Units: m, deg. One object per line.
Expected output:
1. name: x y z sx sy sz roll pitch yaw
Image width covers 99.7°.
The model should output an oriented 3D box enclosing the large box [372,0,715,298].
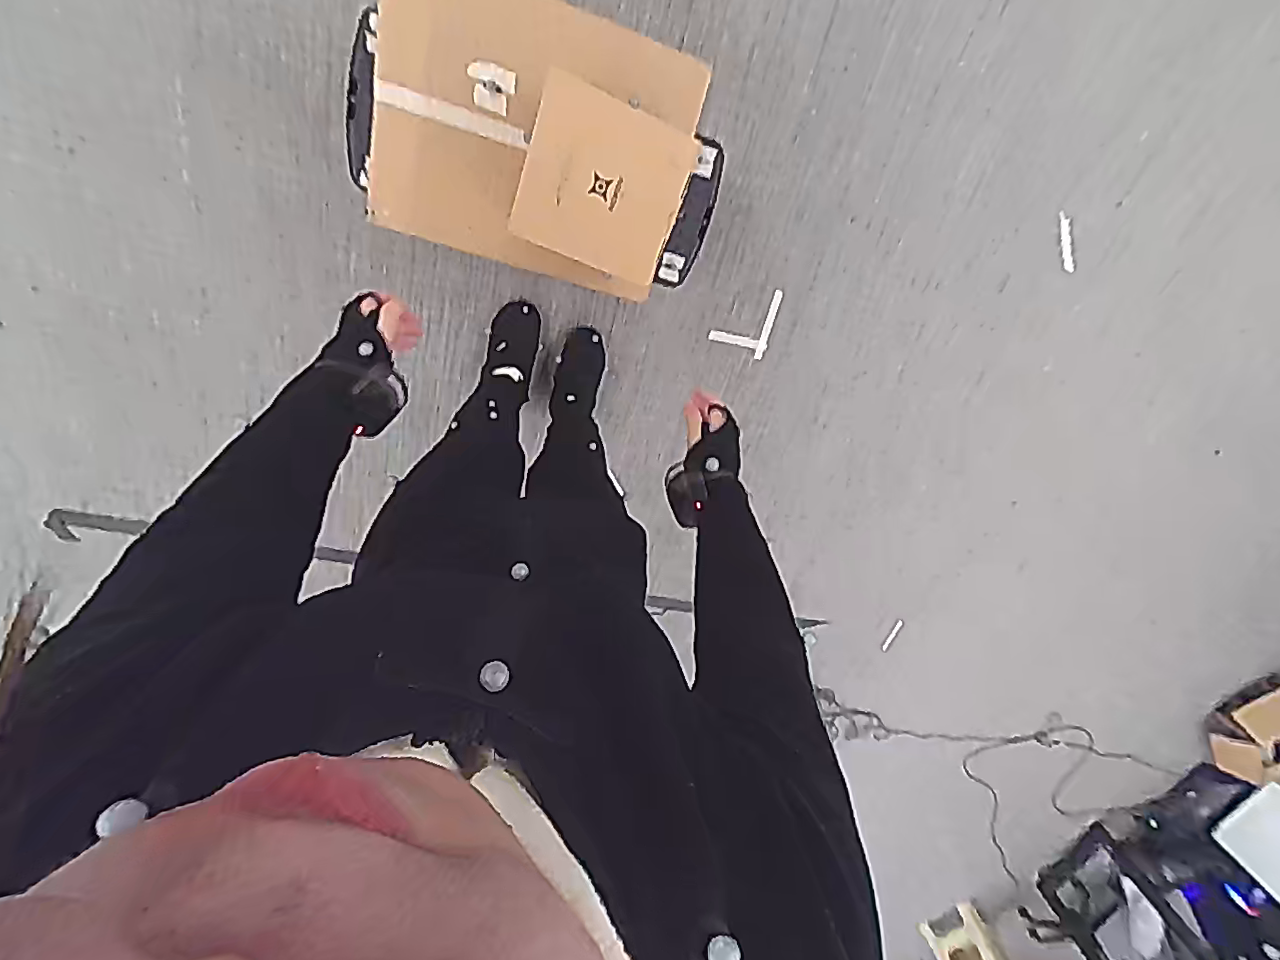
1. large box: -0.146 -0.512 0.840 0.408 0.320 0.320 12 115 -13

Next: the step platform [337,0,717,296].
1. step platform: -0.198 -0.613 1.051 0.684 0.204 0.286 17 114 -16

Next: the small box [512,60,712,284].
1. small box: -0.041 -0.363 0.655 0.179 0.176 0.168 17 115 -16
